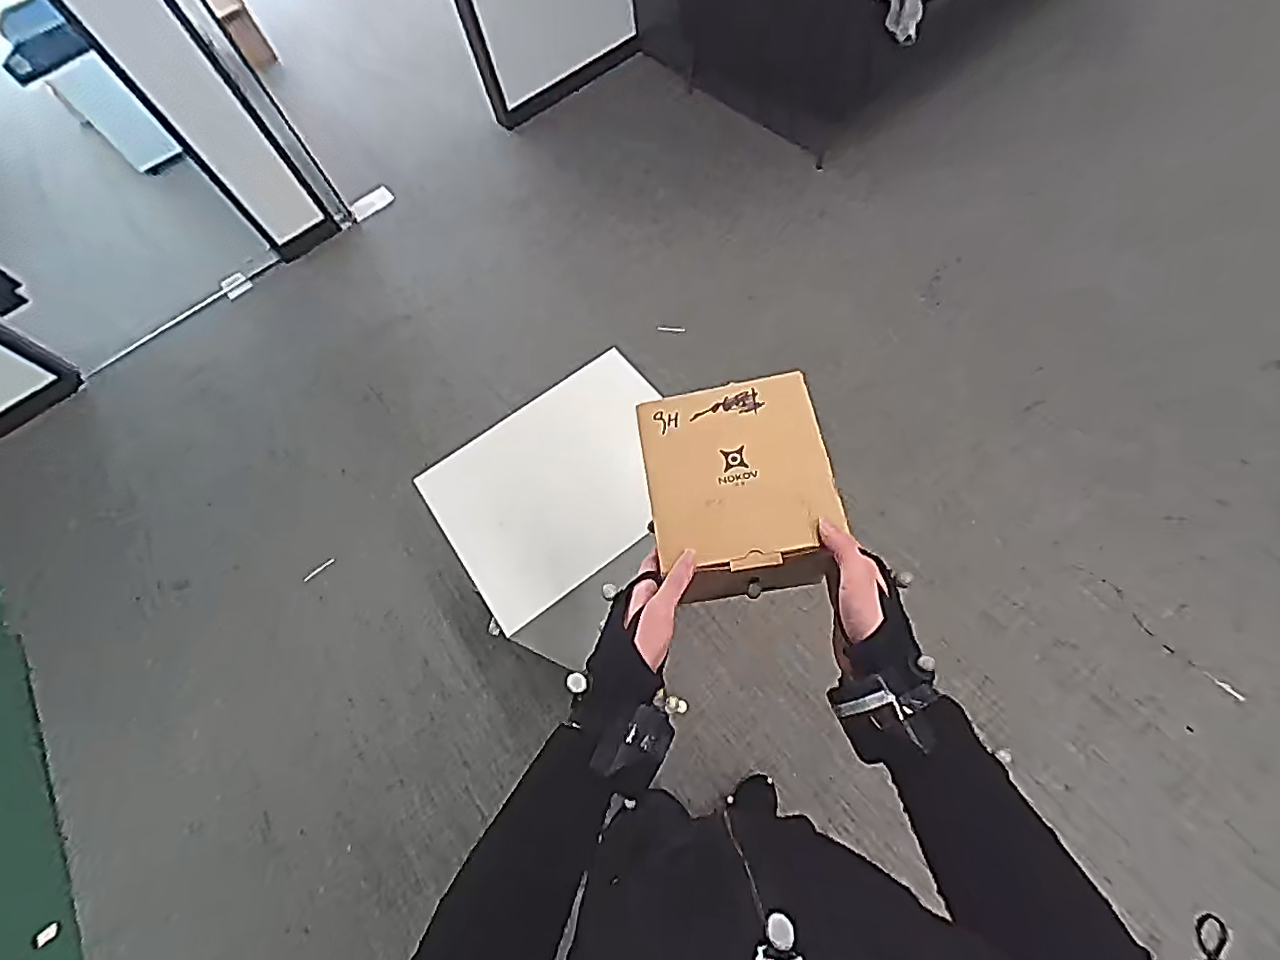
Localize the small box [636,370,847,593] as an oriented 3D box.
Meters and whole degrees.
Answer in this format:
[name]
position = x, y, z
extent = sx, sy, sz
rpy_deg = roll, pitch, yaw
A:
[small box]
position = 0.102, 0.016, 0.577
extent = 0.168, 0.176, 0.179
rpy_deg = -13, 67, 5
